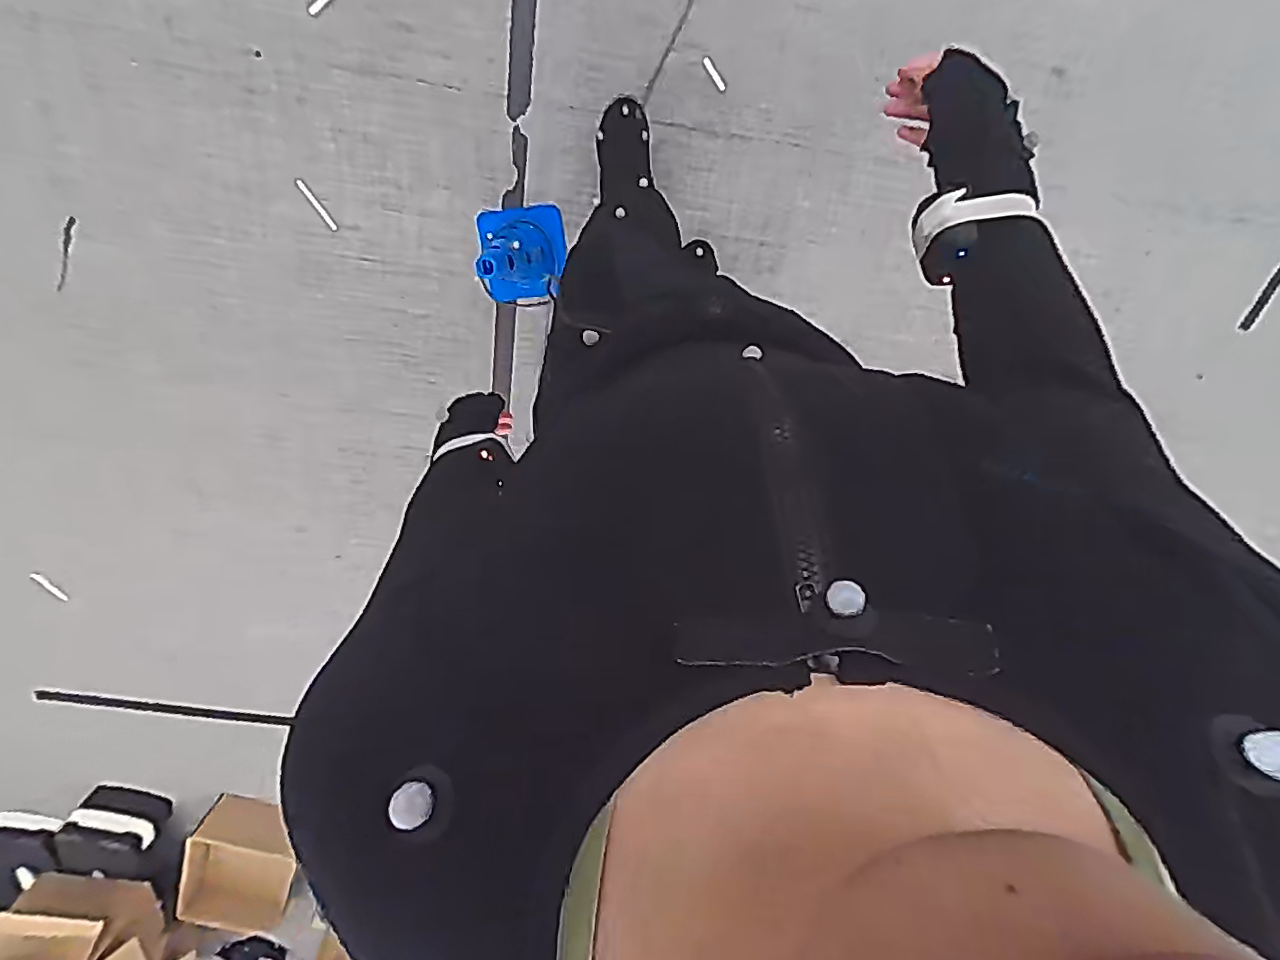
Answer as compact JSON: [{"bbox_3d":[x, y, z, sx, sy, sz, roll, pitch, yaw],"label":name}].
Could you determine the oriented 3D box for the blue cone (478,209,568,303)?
[{"bbox_3d":[-0.273,-0.453,1.123,0.193,0.380,0.192,-7,116,2],"label":"blue cone"}]
